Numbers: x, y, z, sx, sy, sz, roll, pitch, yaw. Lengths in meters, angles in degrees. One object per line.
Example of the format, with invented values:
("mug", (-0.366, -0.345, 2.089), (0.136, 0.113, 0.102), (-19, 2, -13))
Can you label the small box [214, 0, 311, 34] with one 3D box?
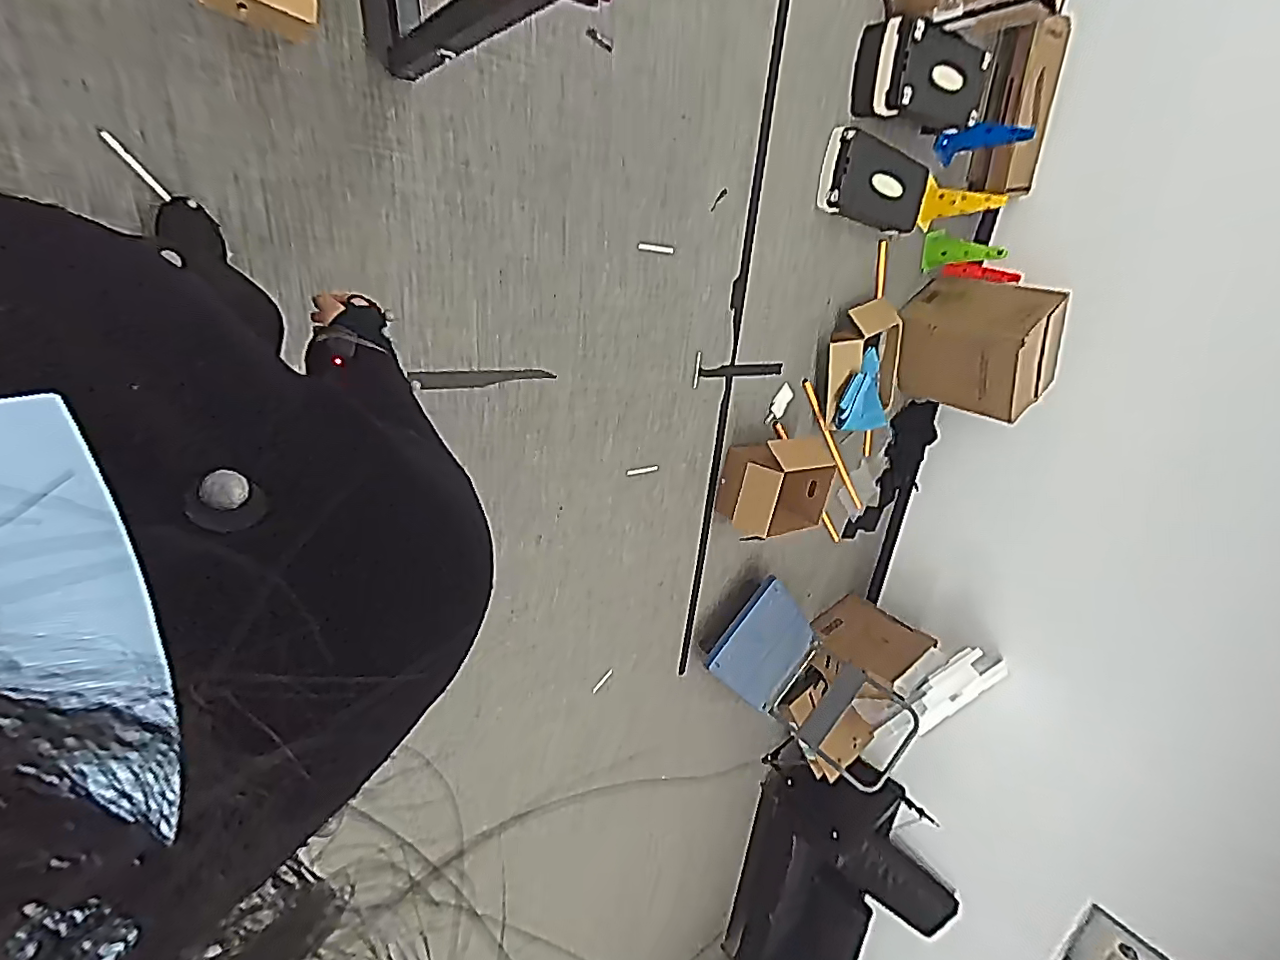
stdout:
("small box", (-0.682, -0.933, 0.948), (0.168, 0.176, 0.179), (-3, 112, -40))
